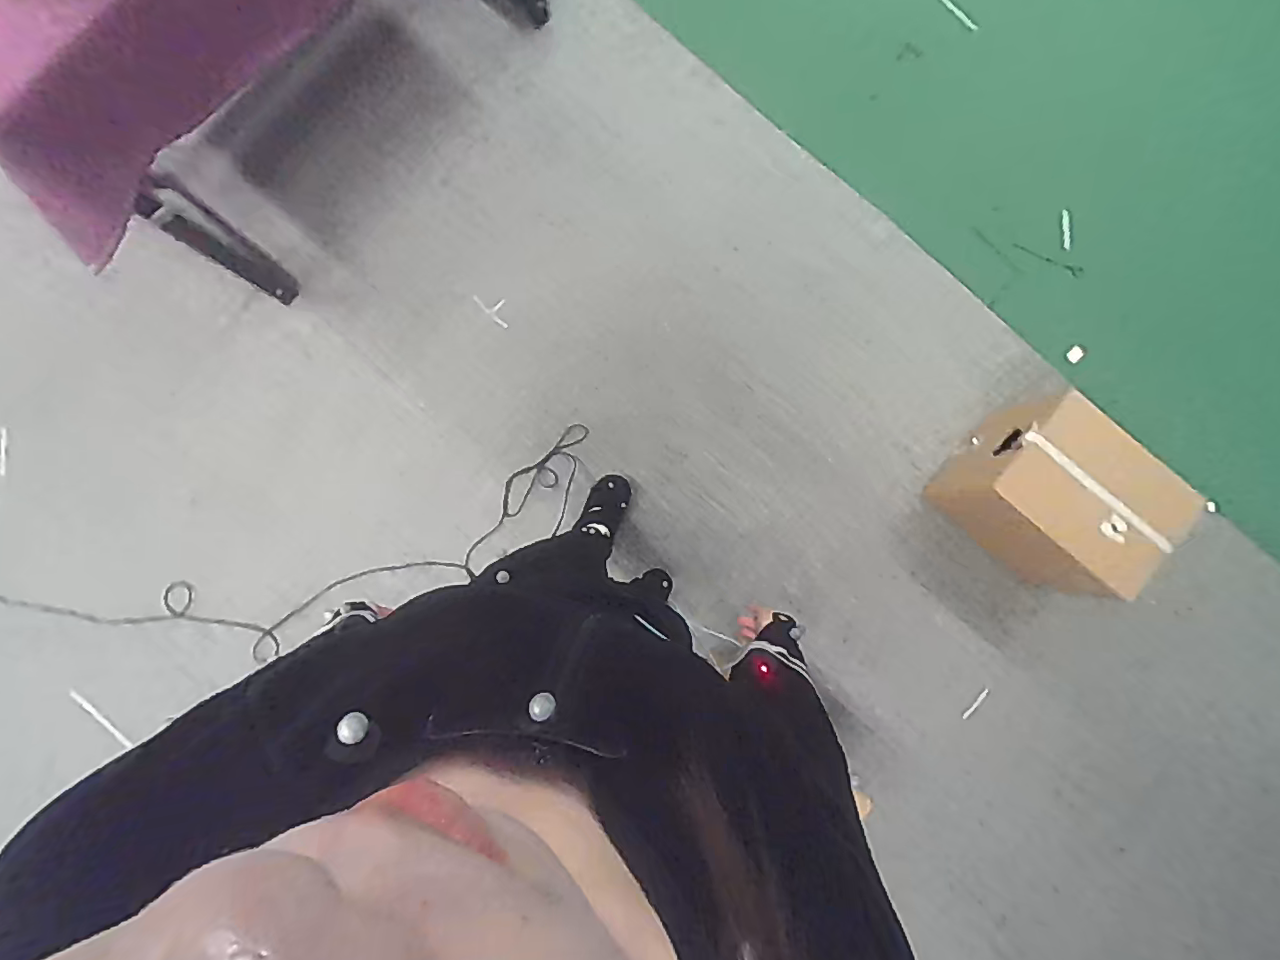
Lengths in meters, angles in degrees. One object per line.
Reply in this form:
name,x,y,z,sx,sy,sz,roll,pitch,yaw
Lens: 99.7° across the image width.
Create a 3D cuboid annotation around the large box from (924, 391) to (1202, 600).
large box,1.044,0.043,1.385,0.408,0.320,0.320,42,86,1
